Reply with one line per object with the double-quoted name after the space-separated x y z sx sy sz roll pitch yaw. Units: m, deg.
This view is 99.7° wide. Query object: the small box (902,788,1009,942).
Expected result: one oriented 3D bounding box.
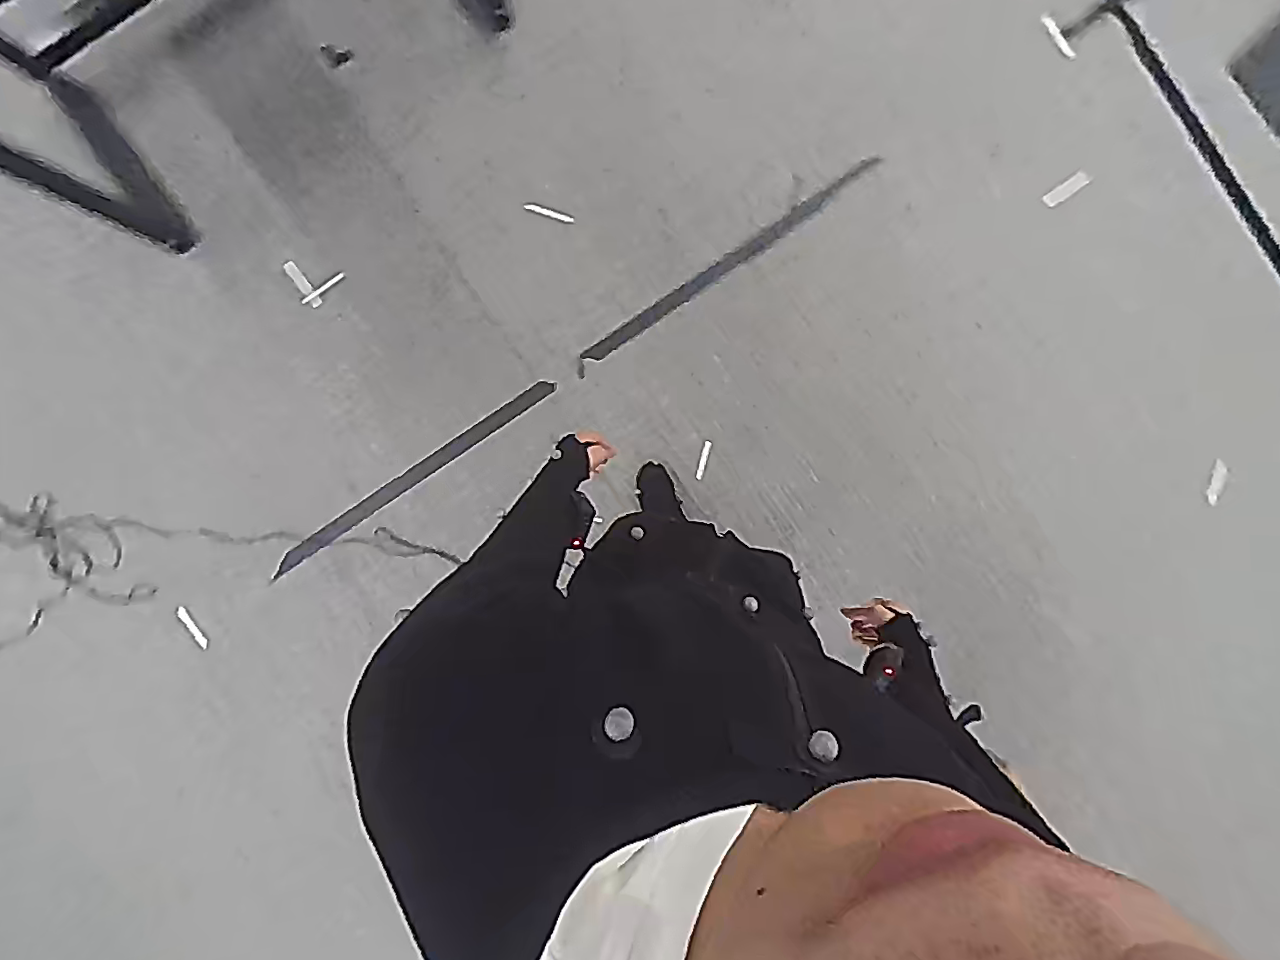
0.710 0.830 1.184 0.179 0.176 0.168 -39 94 -1 "small box"
